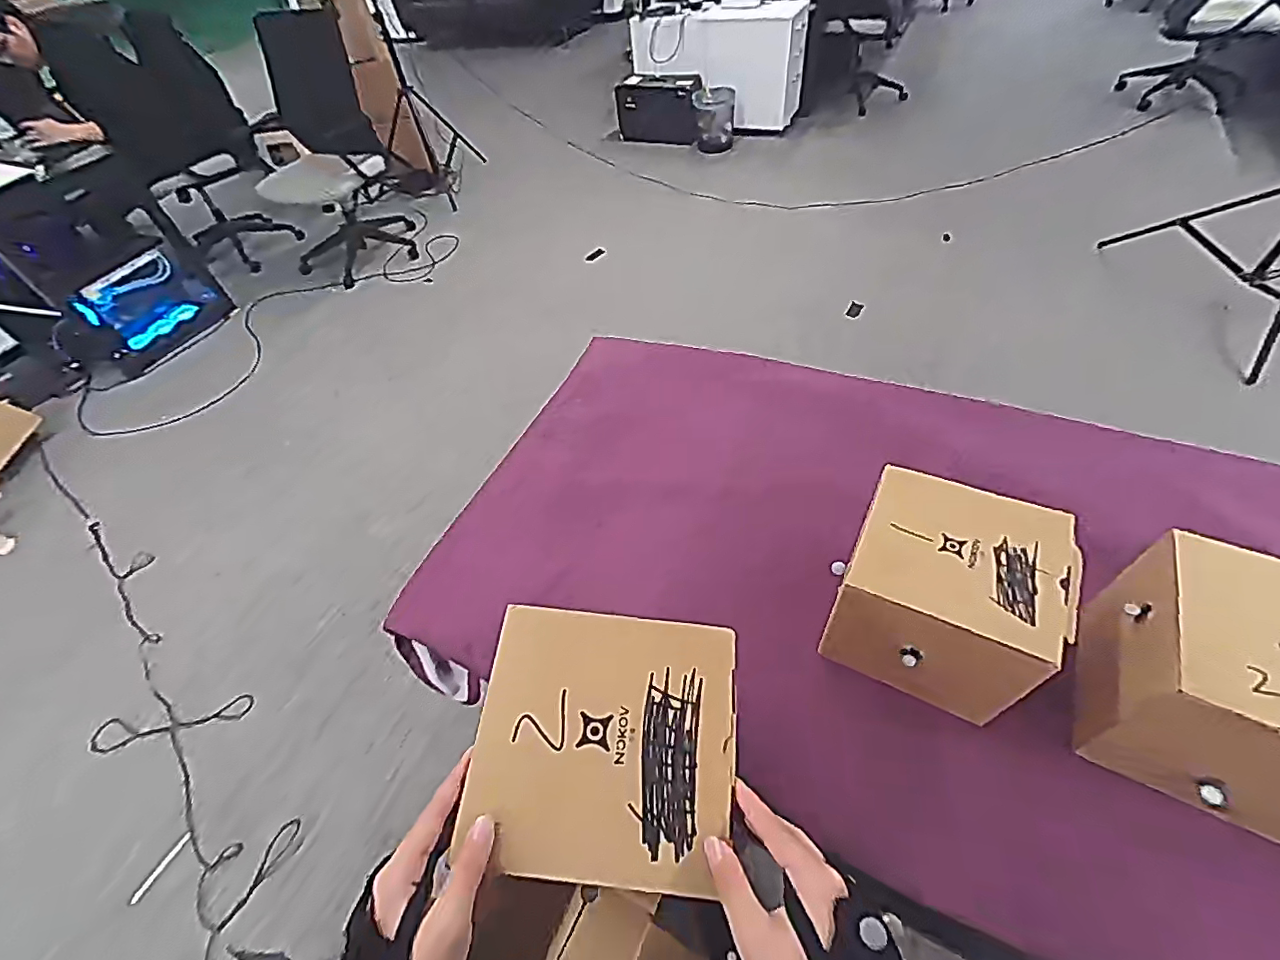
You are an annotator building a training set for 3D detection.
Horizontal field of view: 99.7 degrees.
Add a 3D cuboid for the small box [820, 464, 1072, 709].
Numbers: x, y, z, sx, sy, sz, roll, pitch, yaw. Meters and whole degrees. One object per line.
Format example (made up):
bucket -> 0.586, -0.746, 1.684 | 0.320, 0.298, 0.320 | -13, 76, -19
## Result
small box -> 0.308, 0.116, 0.570 | 0.179, 0.176, 0.168 | 19, 56, 23
